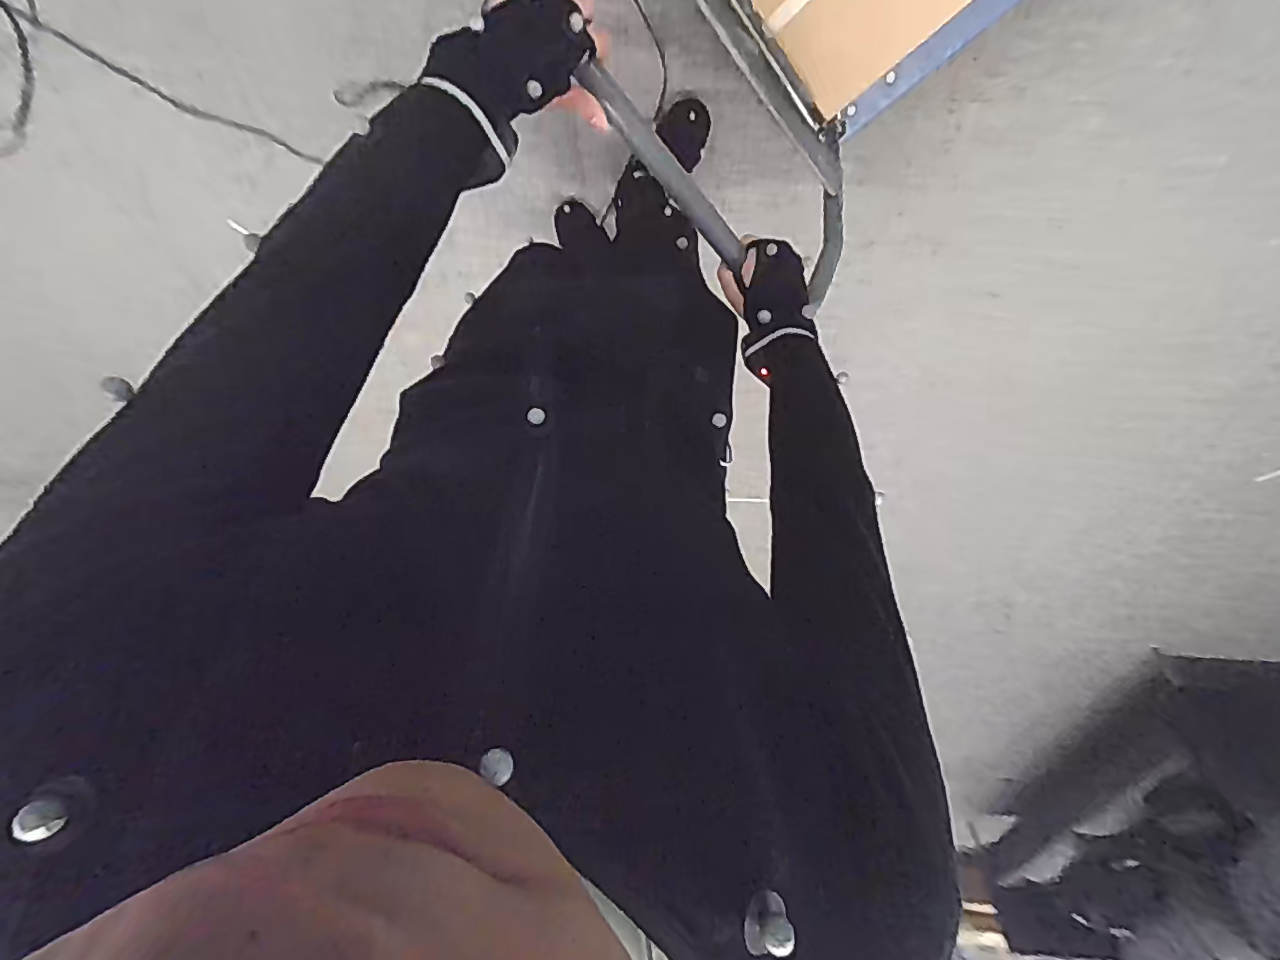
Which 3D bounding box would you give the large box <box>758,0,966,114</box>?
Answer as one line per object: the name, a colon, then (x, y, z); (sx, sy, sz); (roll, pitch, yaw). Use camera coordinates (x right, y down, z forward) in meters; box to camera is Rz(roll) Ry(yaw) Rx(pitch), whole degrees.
large box: (0.352, -0.823, 0.741); (0.408, 0.320, 0.320); (-29, 123, 37)
